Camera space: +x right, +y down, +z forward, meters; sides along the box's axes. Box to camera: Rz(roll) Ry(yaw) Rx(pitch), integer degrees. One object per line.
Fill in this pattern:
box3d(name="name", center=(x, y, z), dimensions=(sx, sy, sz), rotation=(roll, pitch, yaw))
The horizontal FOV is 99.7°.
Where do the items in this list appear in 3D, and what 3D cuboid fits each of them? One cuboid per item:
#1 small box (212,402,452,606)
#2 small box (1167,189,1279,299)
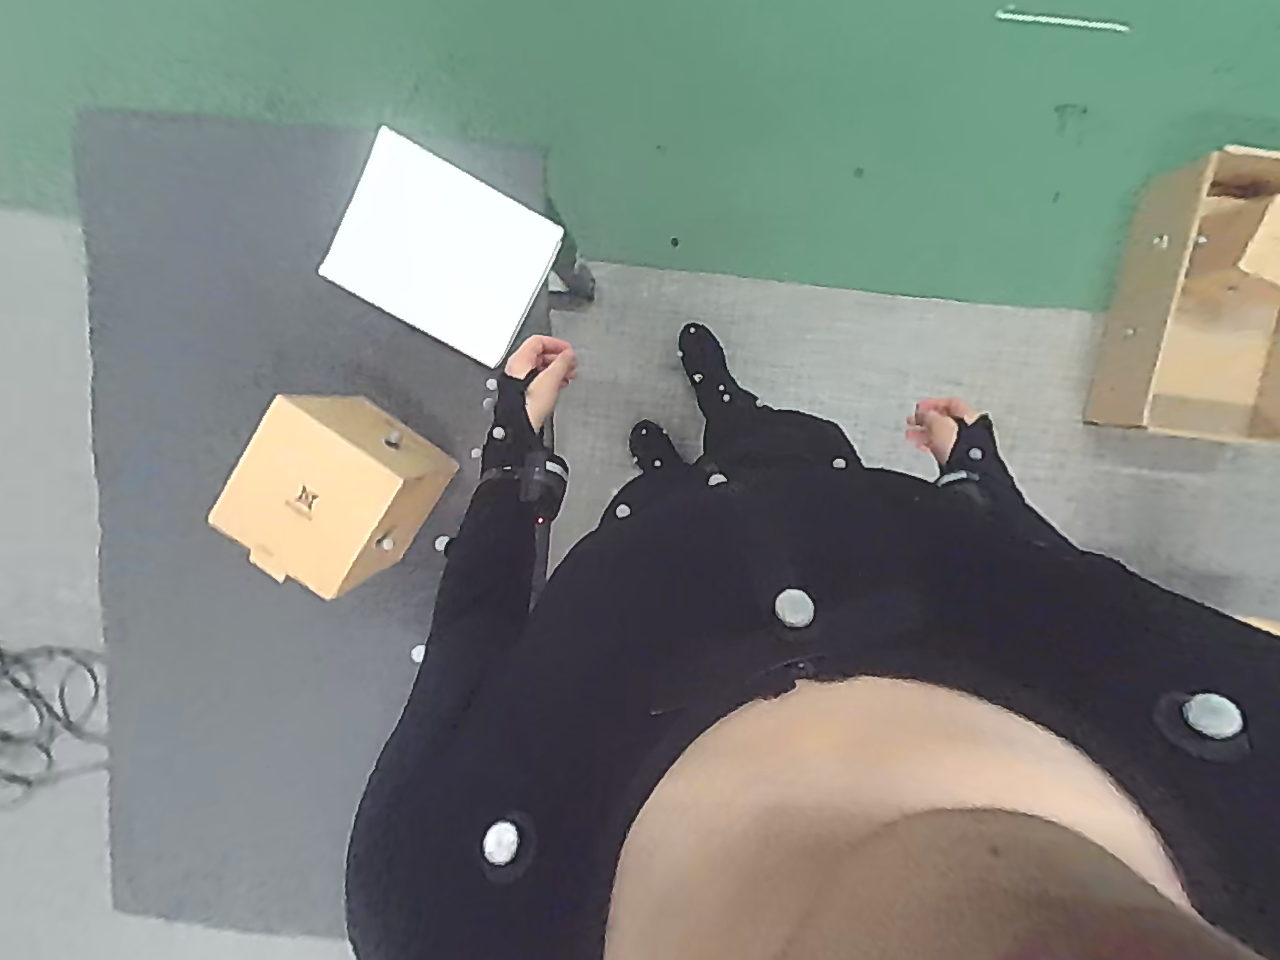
box3d(name="small box", center=(-0.361, 0.016, 0.673), dimensions=(0.168, 0.176, 0.179), rotation=(34, 99, -3))
box3d(name="small box", center=(1.396, -0.528, 1.239), dimensions=(0.179, 0.176, 0.168), rotation=(21, 99, -3))
